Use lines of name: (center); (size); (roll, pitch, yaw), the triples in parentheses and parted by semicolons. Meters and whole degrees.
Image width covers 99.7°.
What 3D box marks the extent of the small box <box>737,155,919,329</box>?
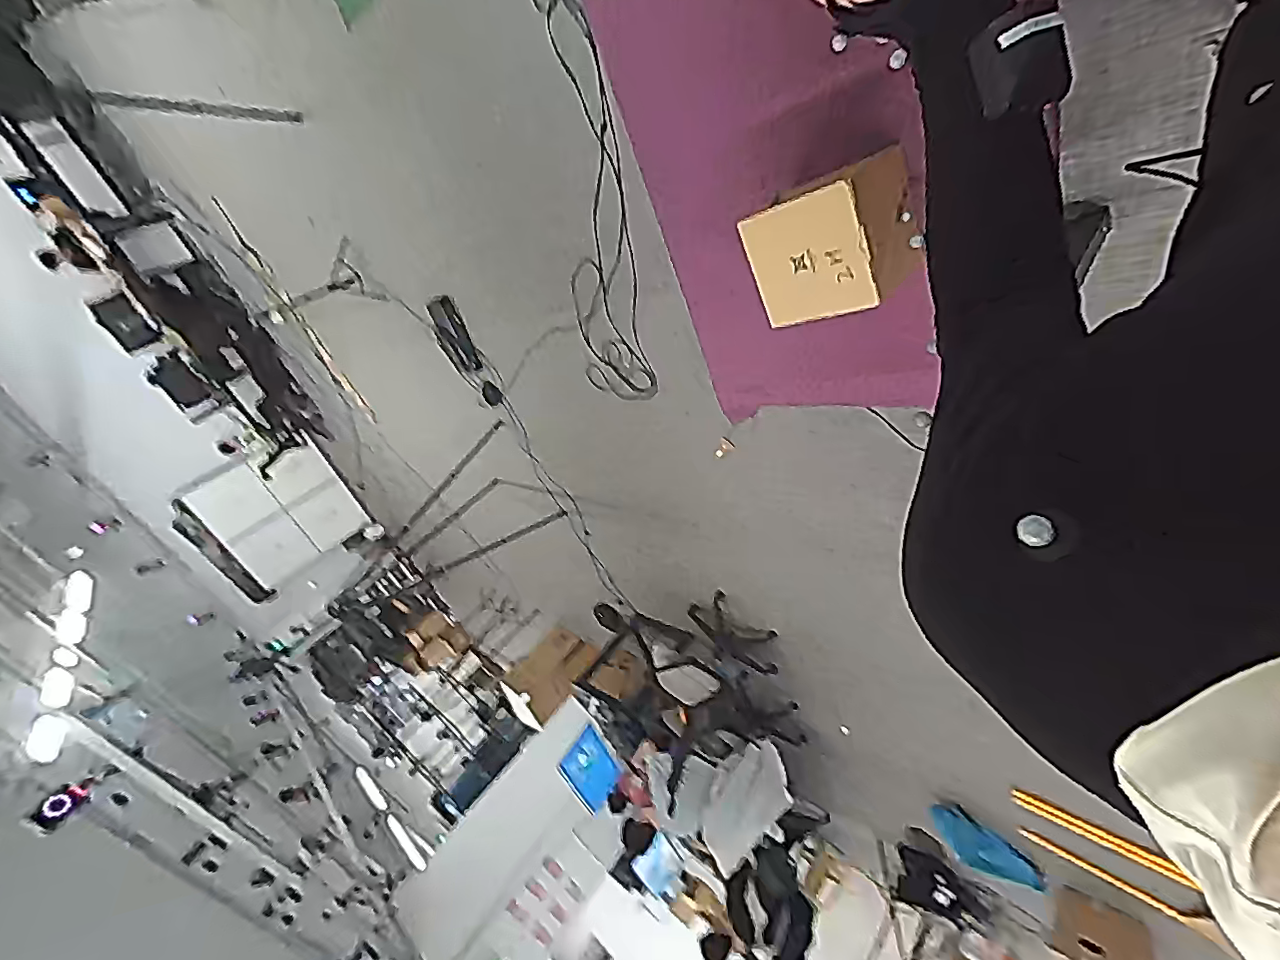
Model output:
small box: (0.278, -0.343, 0.794); (0.179, 0.176, 0.168); (4, 128, 49)
